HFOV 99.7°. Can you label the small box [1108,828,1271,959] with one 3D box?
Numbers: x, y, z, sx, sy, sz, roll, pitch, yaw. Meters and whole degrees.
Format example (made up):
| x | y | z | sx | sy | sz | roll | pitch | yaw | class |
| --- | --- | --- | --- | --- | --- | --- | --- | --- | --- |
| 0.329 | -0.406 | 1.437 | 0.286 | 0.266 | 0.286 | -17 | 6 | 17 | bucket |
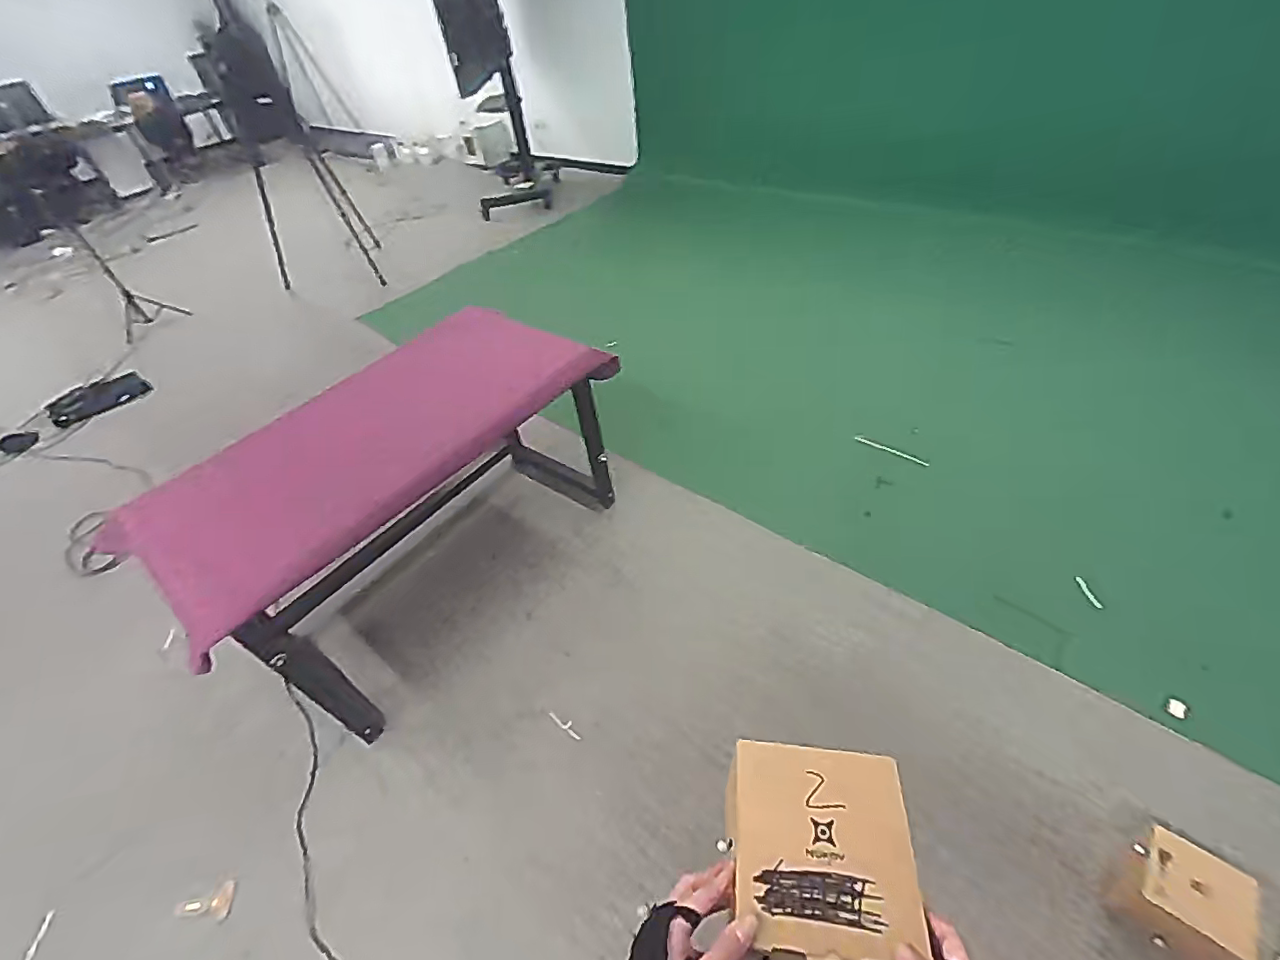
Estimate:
| x | y | z | sx | sy | sz | roll | pitch | yaw | class |
| --- | --- | --- | --- | --- | --- | --- | --- | --- | --- |
| 1.147 | 0.881 | 1.137 | 0.179 | 0.176 | 0.168 | 28 | 56 | 30 | small box |
